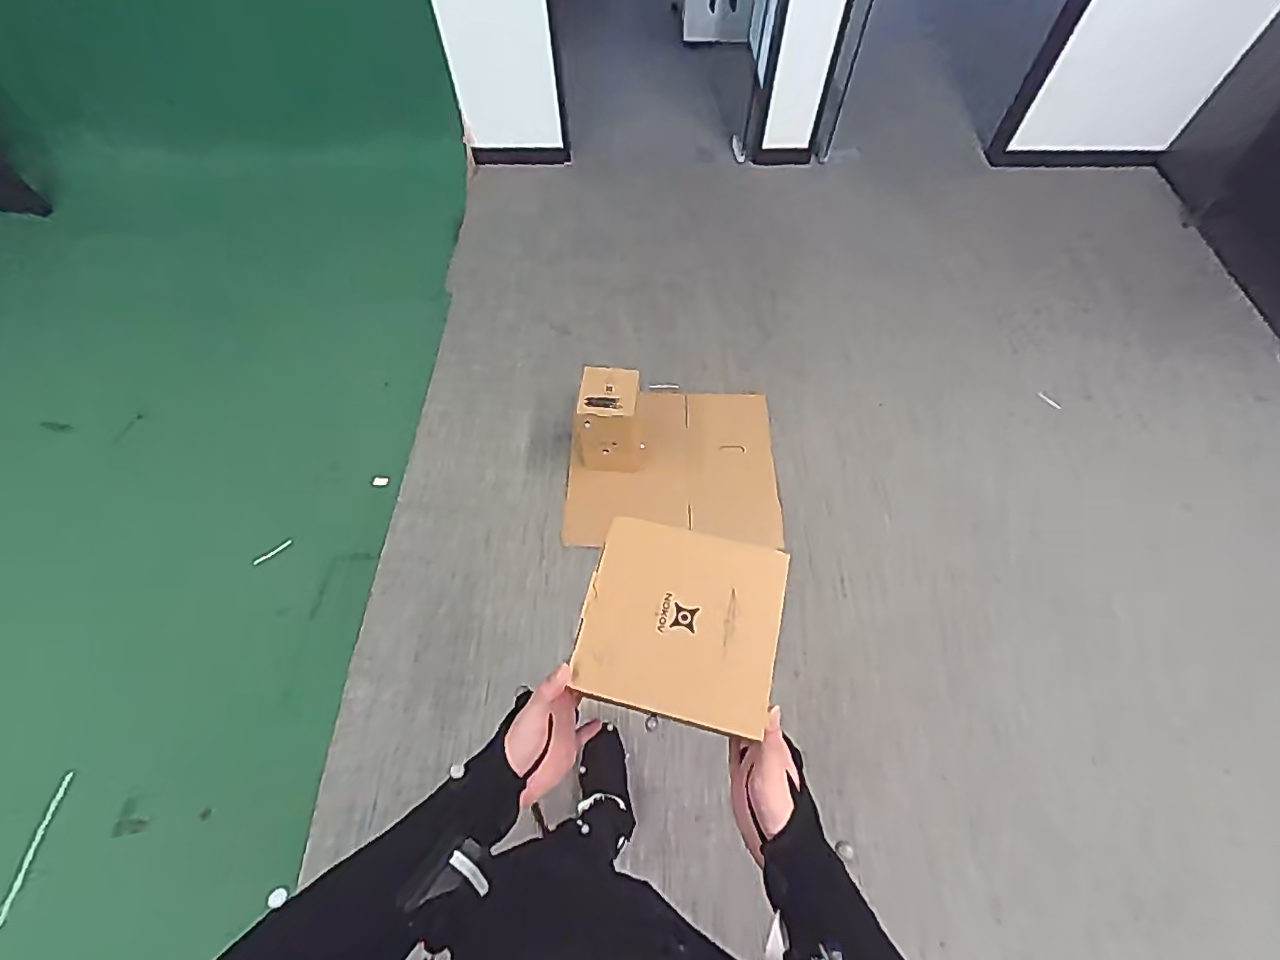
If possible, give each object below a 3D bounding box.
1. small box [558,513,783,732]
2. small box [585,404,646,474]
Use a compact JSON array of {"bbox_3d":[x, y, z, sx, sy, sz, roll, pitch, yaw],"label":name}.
[{"bbox_3d":[0.035,0.155,0.563,0.179,0.176,0.168,12,67,8],"label":"small box"},{"bbox_3d":[-0.076,-0.132,1.787,0.179,0.176,0.168,5,61,3],"label":"small box"}]
